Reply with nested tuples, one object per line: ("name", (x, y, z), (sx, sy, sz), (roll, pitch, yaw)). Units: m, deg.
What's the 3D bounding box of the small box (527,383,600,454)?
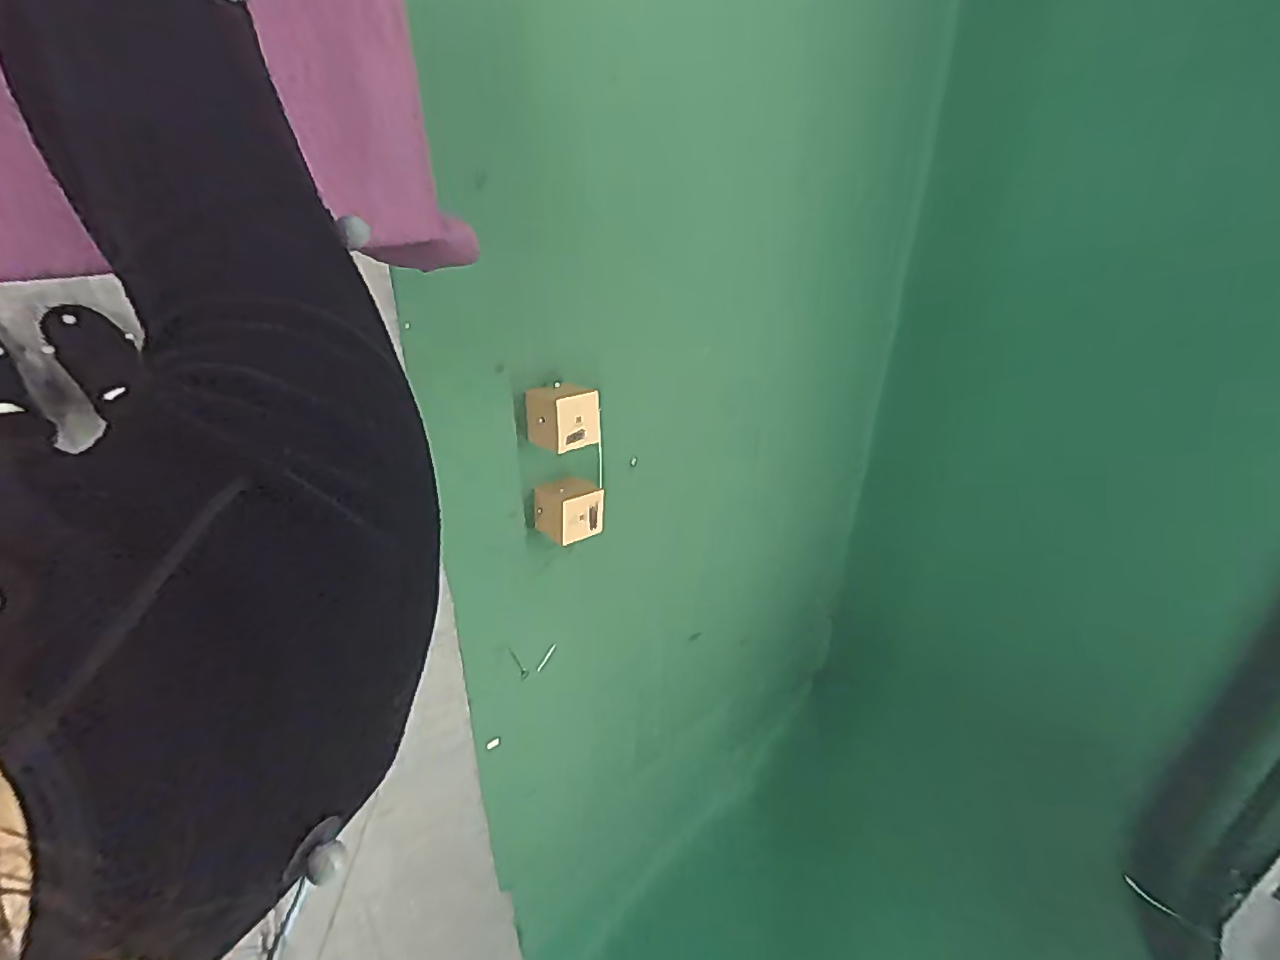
("small box", (-0.246, -0.204, 1.736), (0.168, 0.176, 0.179), (-21, 121, -40))
